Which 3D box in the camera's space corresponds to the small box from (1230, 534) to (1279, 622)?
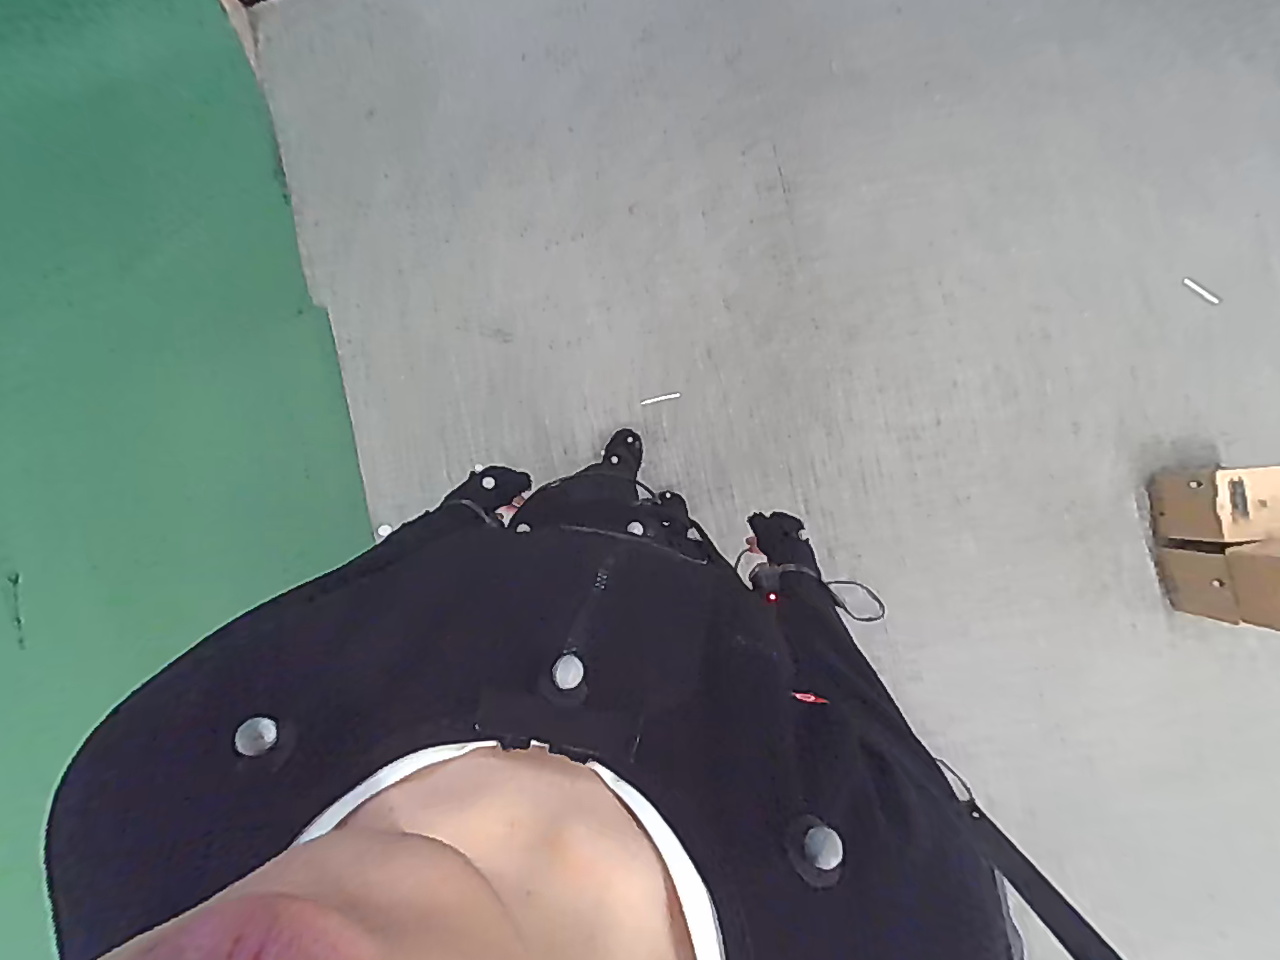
[{"bbox_3d":[1.409,0.205,1.129,0.168,0.176,0.179,-13,89,4],"label":"small box"}]
